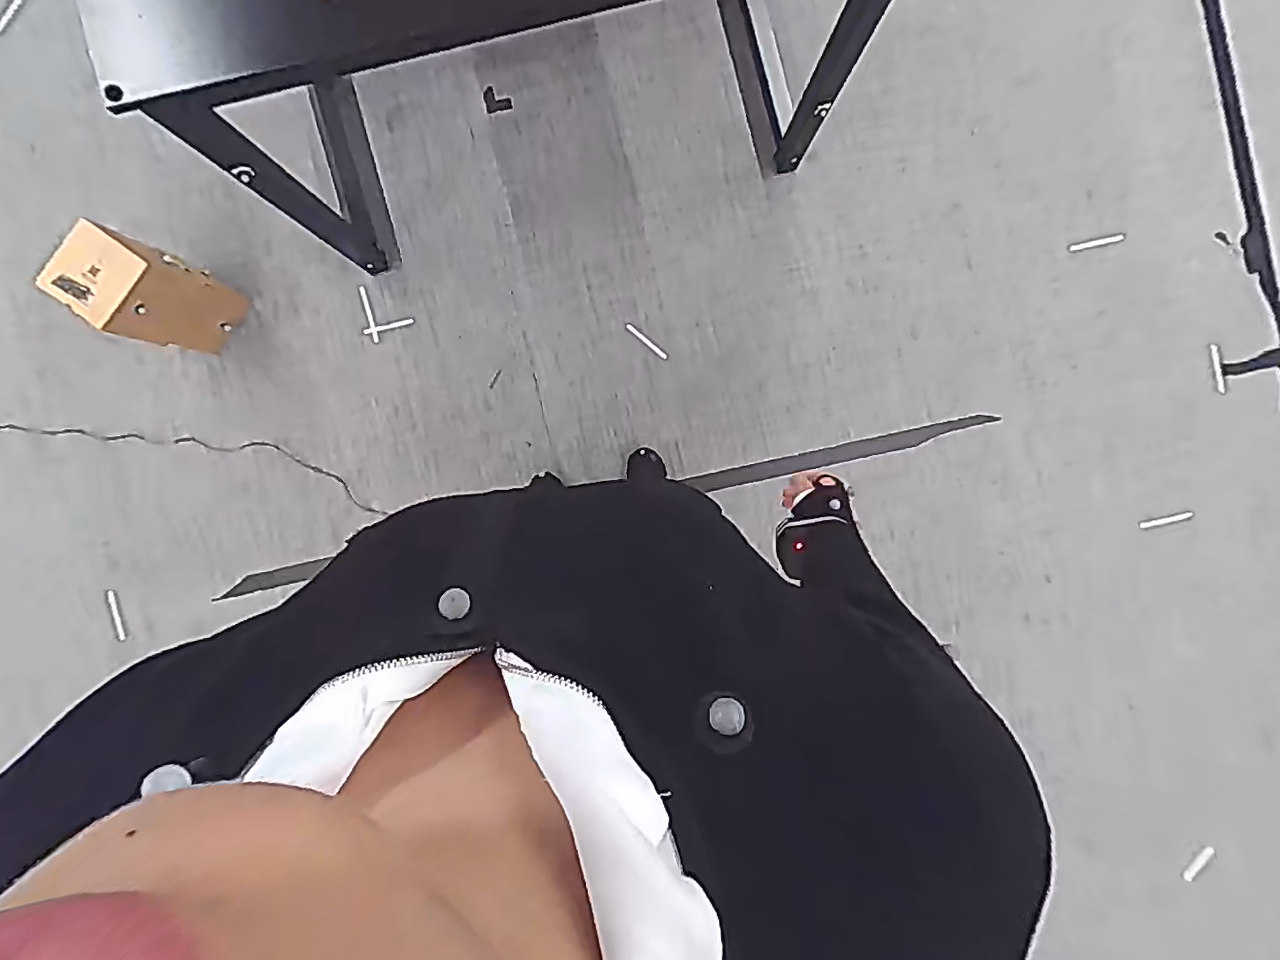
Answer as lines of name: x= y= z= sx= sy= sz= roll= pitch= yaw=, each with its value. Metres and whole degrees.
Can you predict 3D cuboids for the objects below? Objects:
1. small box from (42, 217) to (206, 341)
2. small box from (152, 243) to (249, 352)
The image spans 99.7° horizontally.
small box: x=-1.139 y=-0.437 z=1.211 sx=0.168 sy=0.176 sz=0.179 roll=37 pitch=91 yaw=-3
small box: x=-1.151 y=-0.454 z=1.376 sx=0.168 sy=0.176 sz=0.179 roll=35 pitch=91 yaw=-2
